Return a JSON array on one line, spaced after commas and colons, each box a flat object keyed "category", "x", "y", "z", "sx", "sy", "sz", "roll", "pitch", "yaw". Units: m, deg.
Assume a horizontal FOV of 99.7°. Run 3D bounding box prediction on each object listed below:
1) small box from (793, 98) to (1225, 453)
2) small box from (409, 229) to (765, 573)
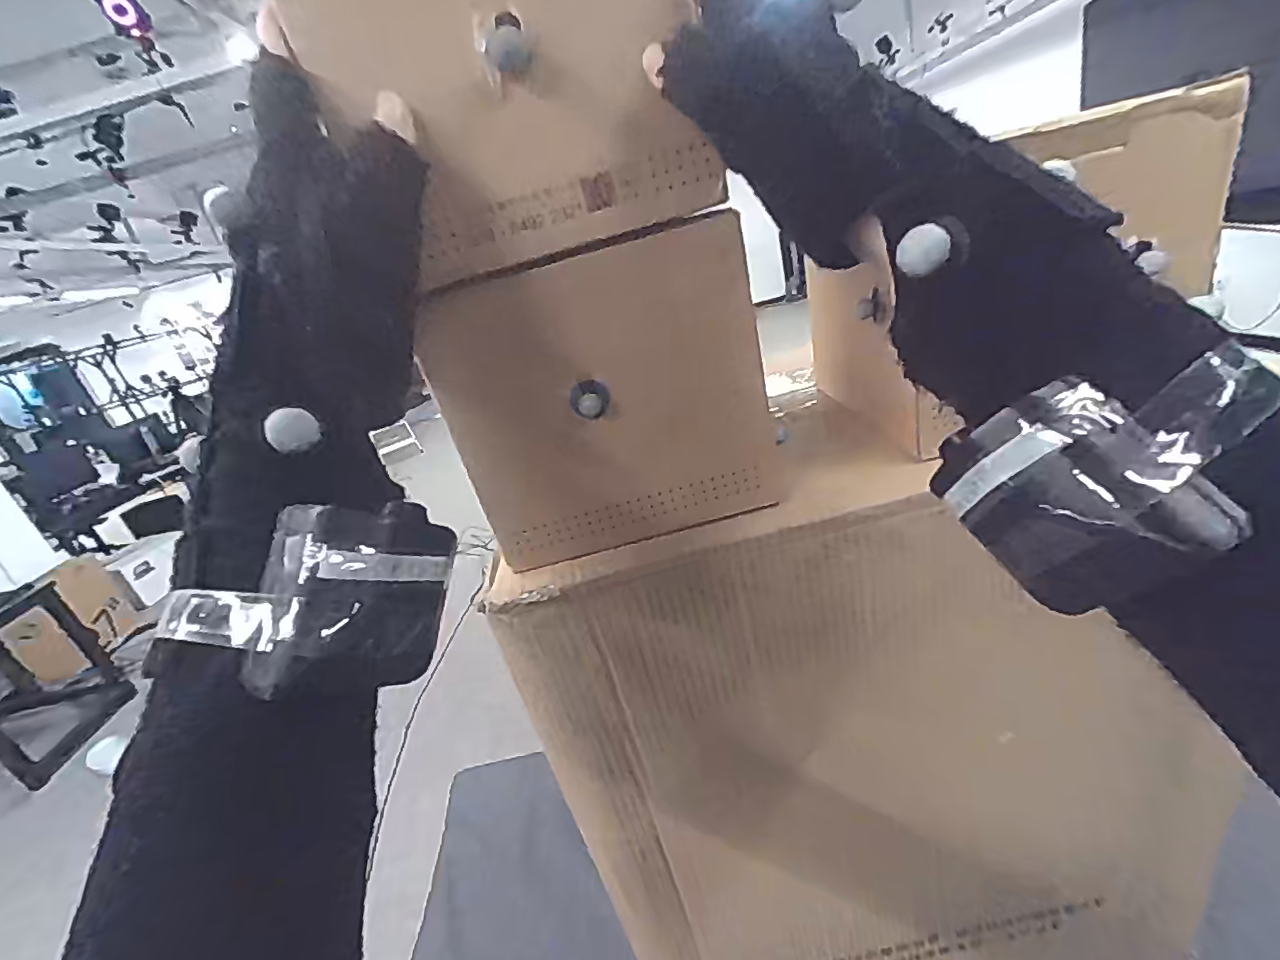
[{"category": "small box", "x": 0.221, "y": -0.129, "z": 0.375, "sx": 0.168, "sy": 0.176, "sz": 0.179, "roll": -13, "pitch": 24, "yaw": 1}, {"category": "small box", "x": -0.022, "y": -0.063, "z": 0.370, "sx": 0.179, "sy": 0.176, "sz": 0.168, "roll": -15, "pitch": 26, "yaw": -2}]
